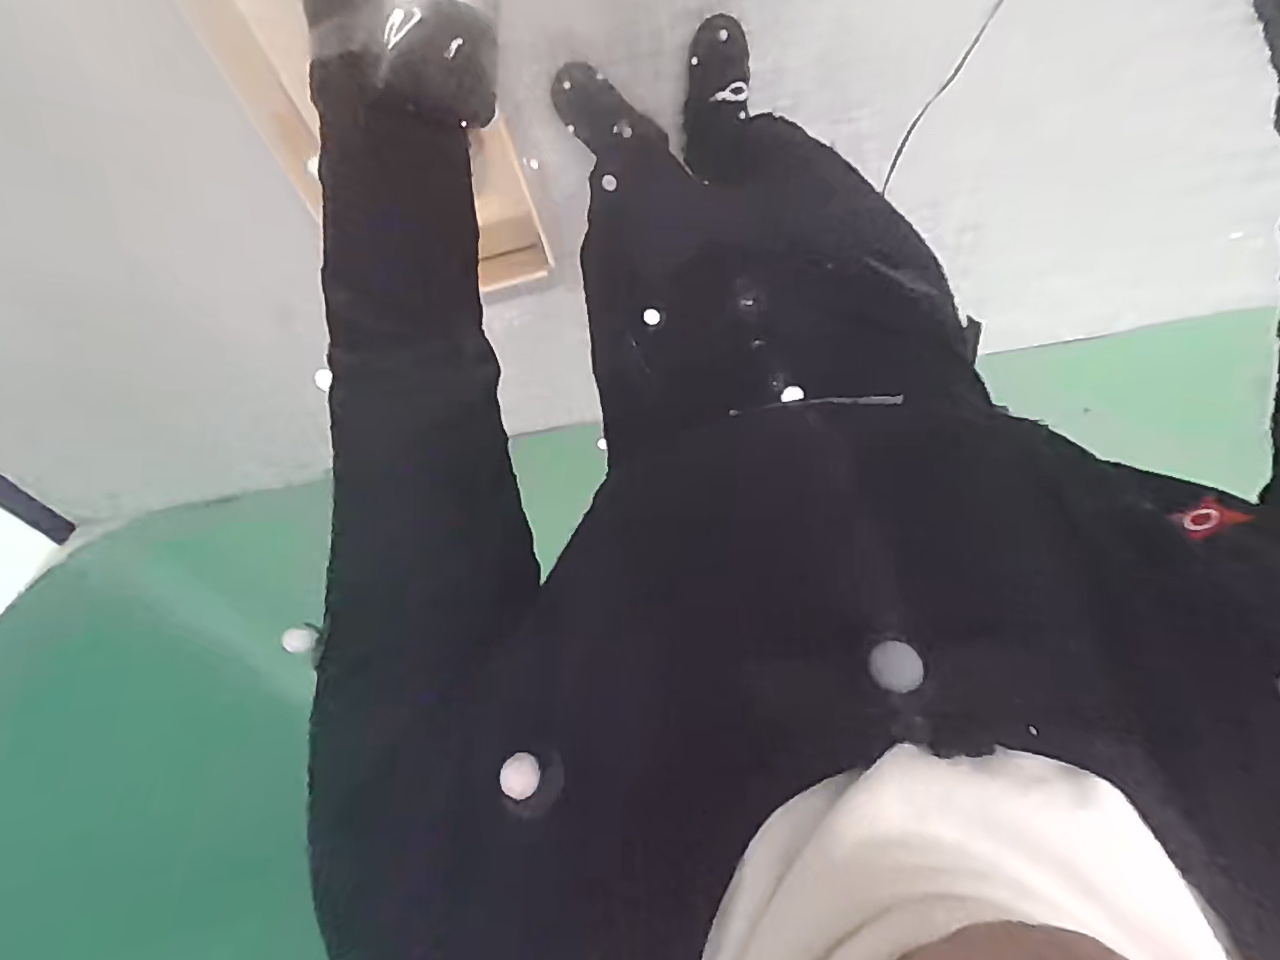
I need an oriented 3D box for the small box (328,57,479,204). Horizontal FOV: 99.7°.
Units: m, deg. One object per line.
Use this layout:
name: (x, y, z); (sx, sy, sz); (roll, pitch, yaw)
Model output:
small box: (-0.400, -0.621, 0.958); (0.179, 0.176, 0.168); (-10, 134, 8)
